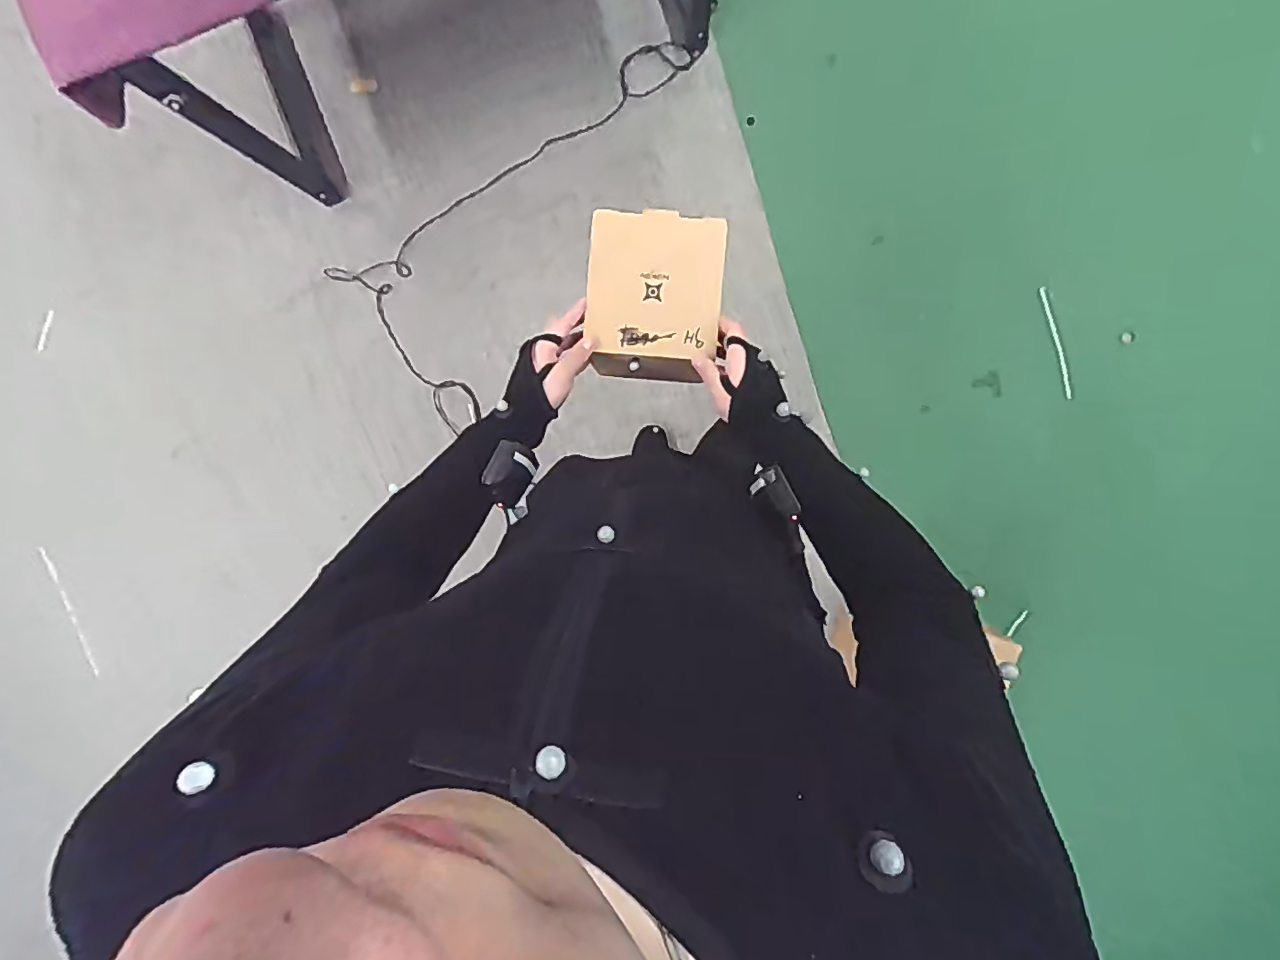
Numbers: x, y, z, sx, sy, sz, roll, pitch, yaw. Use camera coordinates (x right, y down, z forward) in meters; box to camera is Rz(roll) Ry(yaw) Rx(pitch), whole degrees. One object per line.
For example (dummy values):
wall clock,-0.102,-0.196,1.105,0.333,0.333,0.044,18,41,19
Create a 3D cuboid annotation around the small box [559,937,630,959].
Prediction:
small box,-0.103,1.216,1.249,0.168,0.176,0.179,-10,94,4
